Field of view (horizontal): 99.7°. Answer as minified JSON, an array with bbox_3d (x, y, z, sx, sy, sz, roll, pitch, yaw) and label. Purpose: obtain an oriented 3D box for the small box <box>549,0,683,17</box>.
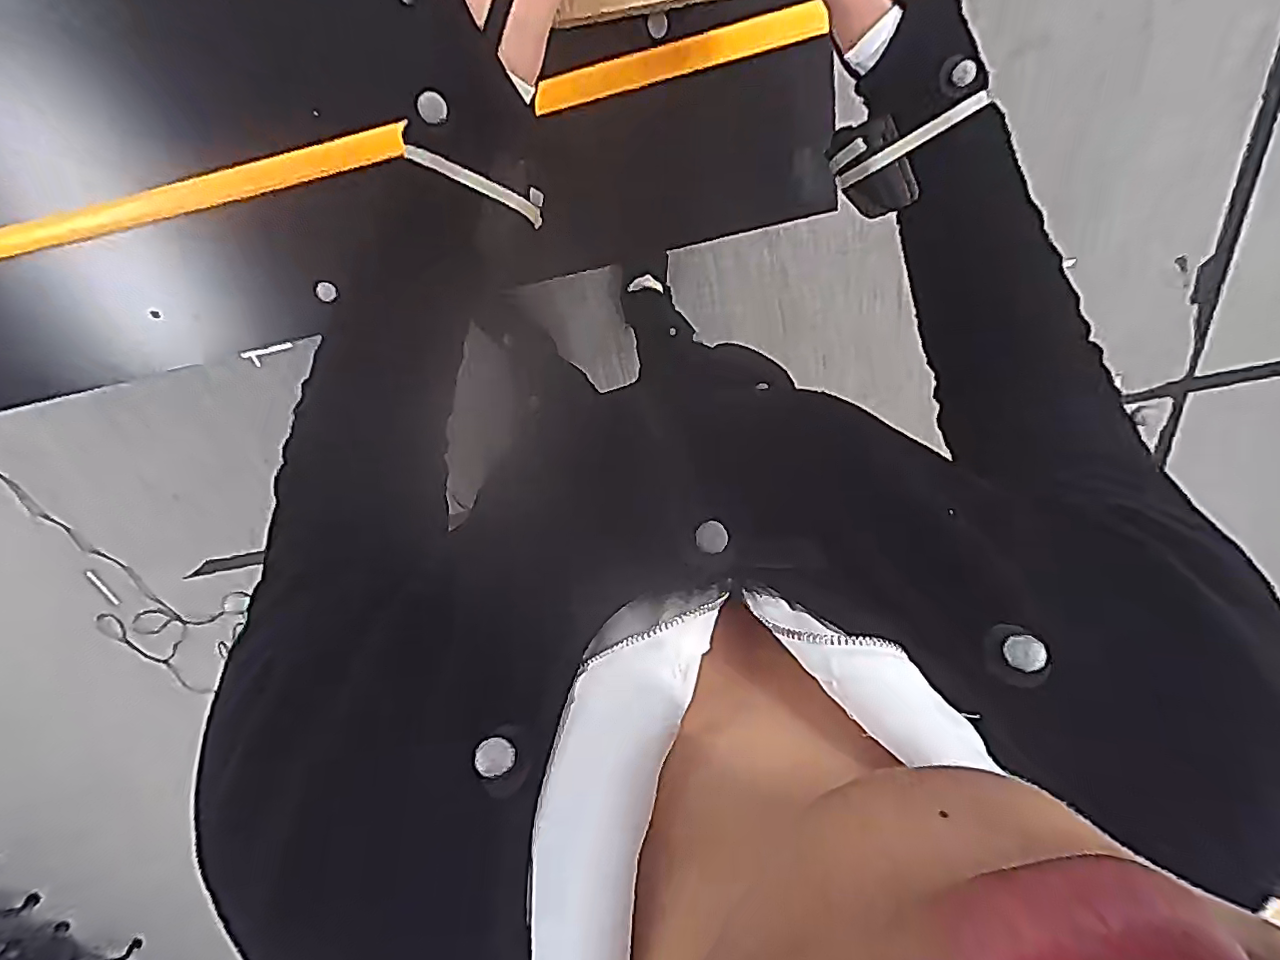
[{"bbox_3d":[0.010,-0.416,0.337,0.168,0.176,0.179,-7,130,4],"label":"small box"}]
